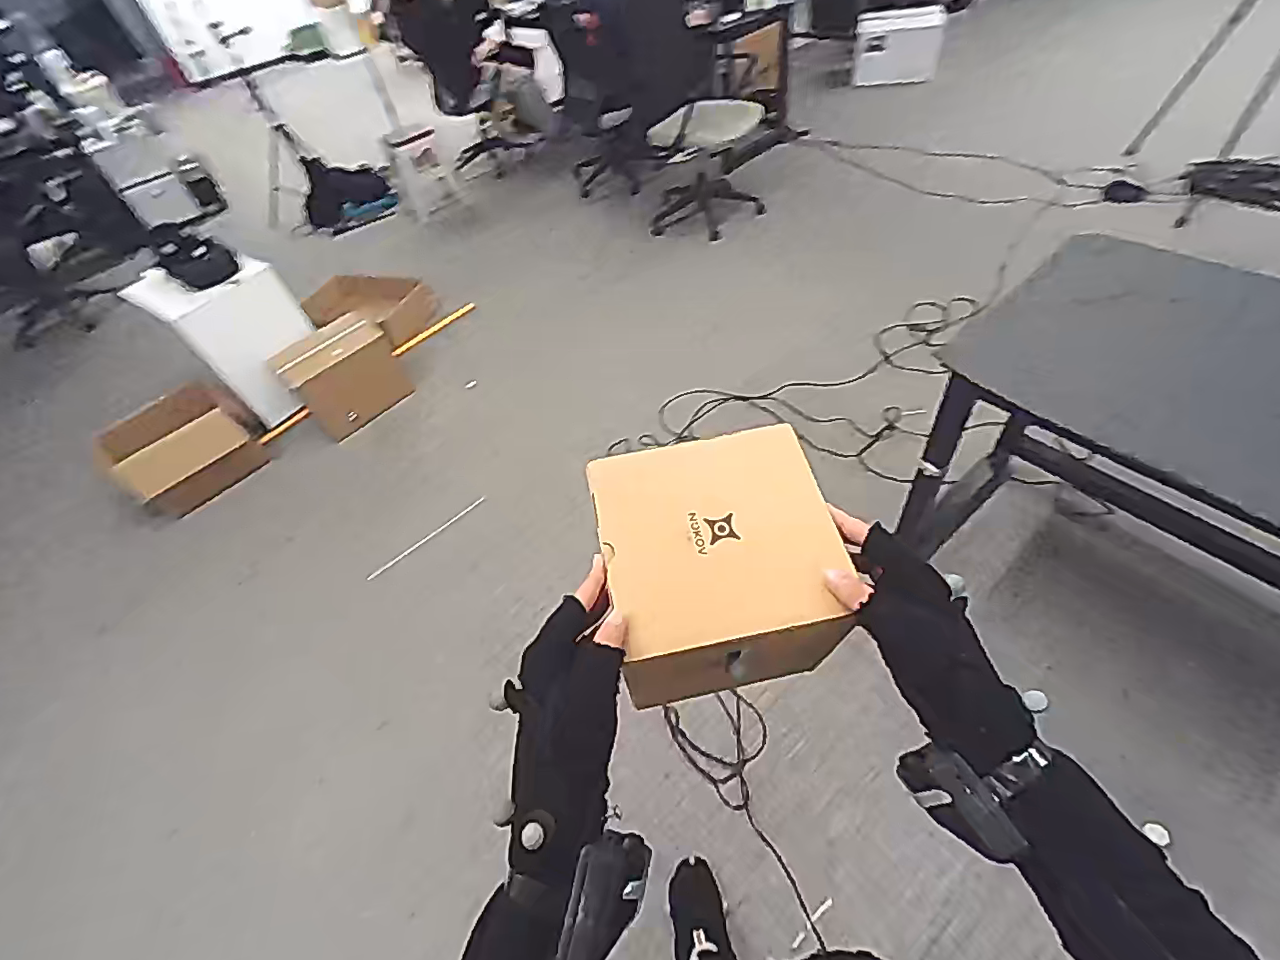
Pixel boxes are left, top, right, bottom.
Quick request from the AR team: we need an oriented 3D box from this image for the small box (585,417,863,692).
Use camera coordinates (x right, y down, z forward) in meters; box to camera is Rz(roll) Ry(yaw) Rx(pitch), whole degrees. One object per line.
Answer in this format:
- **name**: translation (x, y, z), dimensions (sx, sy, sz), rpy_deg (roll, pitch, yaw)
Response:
- **small box**: translation (0.058, 0.072, 0.469), dimensions (0.179, 0.176, 0.168), rpy_deg (-11, 58, -2)
